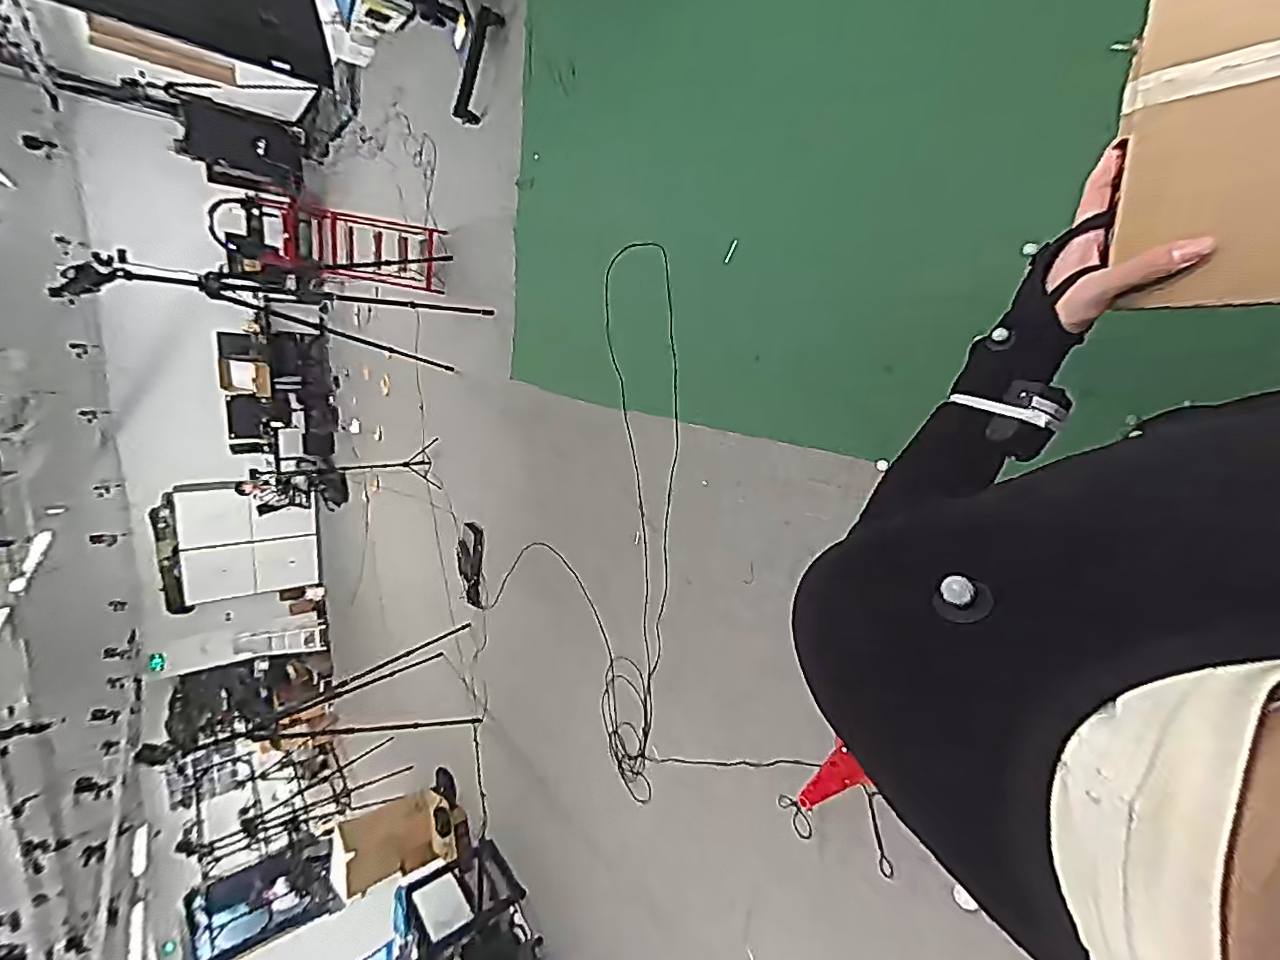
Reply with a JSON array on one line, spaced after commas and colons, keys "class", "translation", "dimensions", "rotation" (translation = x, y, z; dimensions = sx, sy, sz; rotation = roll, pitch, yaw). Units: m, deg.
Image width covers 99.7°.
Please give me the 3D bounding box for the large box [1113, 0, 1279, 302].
[{"class": "large box", "translation": [0.623, -0.307, 0.373], "dimensions": [0.408, 0.320, 0.320], "rotation": [12, 114, 44]}]
